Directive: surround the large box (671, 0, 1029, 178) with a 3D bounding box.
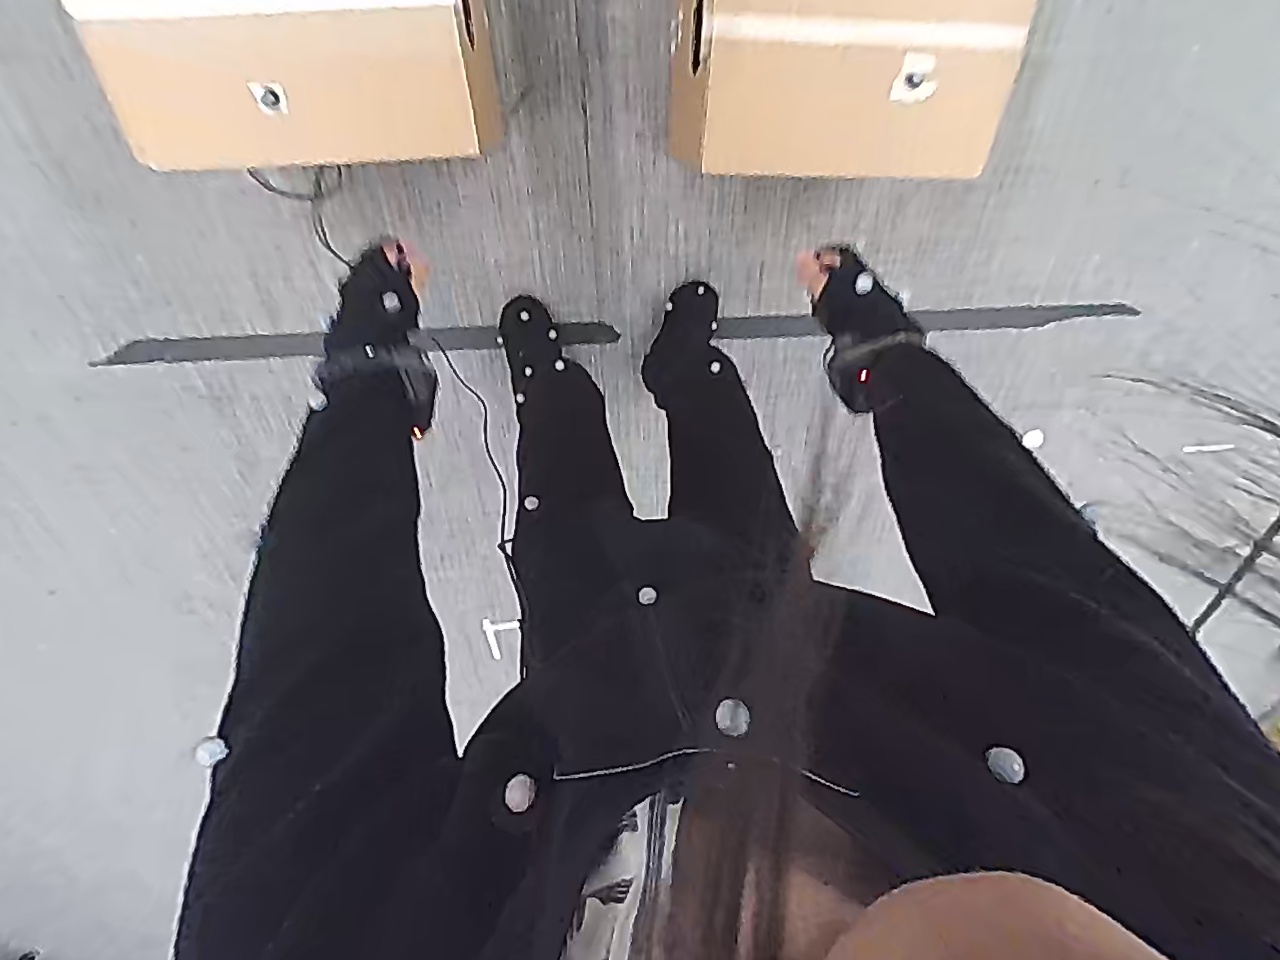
[{"bbox_3d":[0.268,-0.637,0.802,0.408,0.320,0.320,-2,123,-7],"label":"large box"}]
